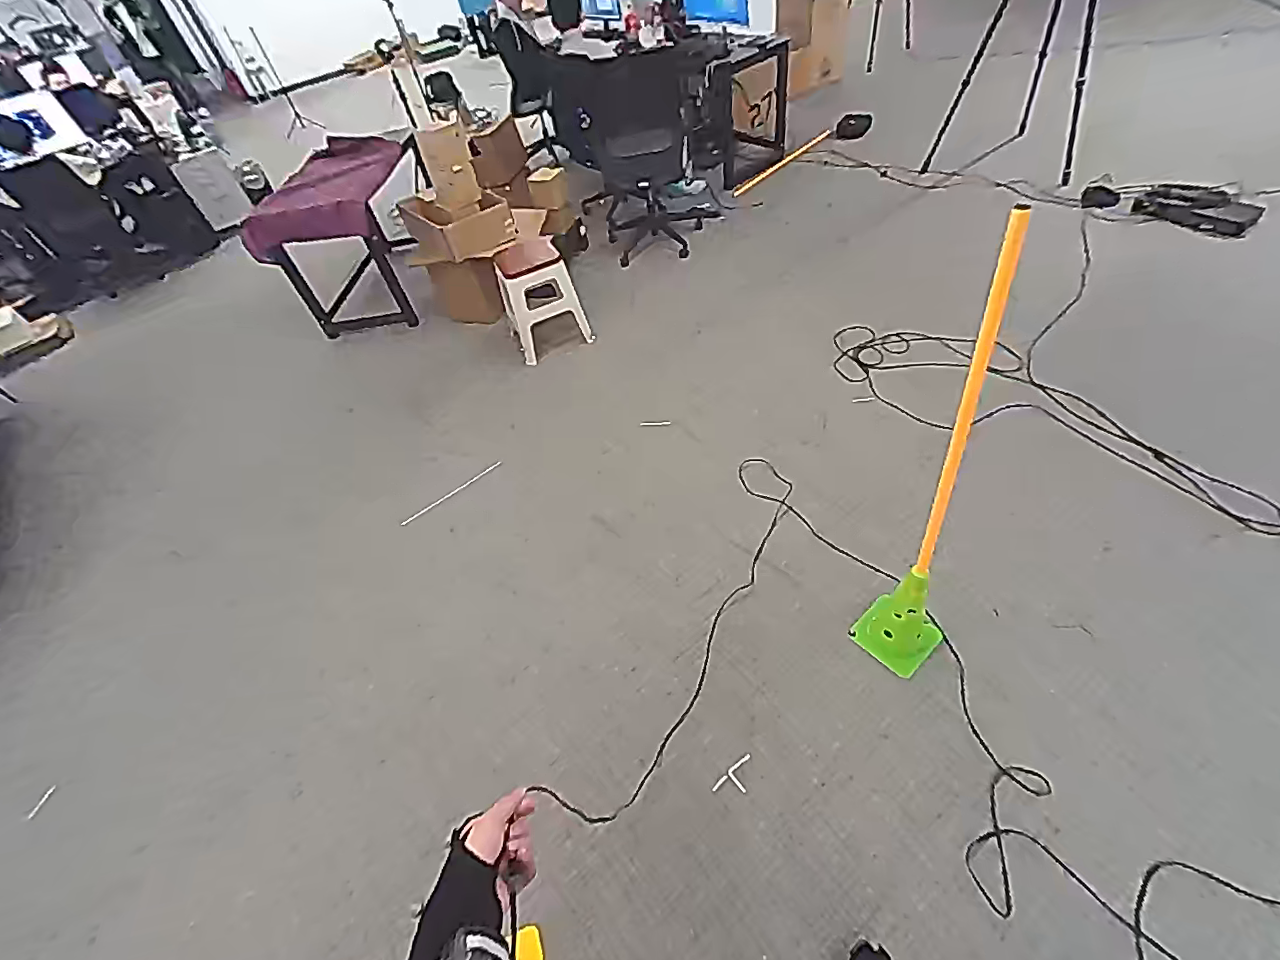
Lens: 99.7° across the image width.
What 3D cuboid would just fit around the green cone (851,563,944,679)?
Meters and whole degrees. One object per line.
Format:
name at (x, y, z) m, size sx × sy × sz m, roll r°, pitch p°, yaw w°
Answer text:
green cone at (0.732, 0.344, 1.463) m, size 0.202 × 0.368 × 0.200 m, roll -37°, pitch 52°, yaw -21°
